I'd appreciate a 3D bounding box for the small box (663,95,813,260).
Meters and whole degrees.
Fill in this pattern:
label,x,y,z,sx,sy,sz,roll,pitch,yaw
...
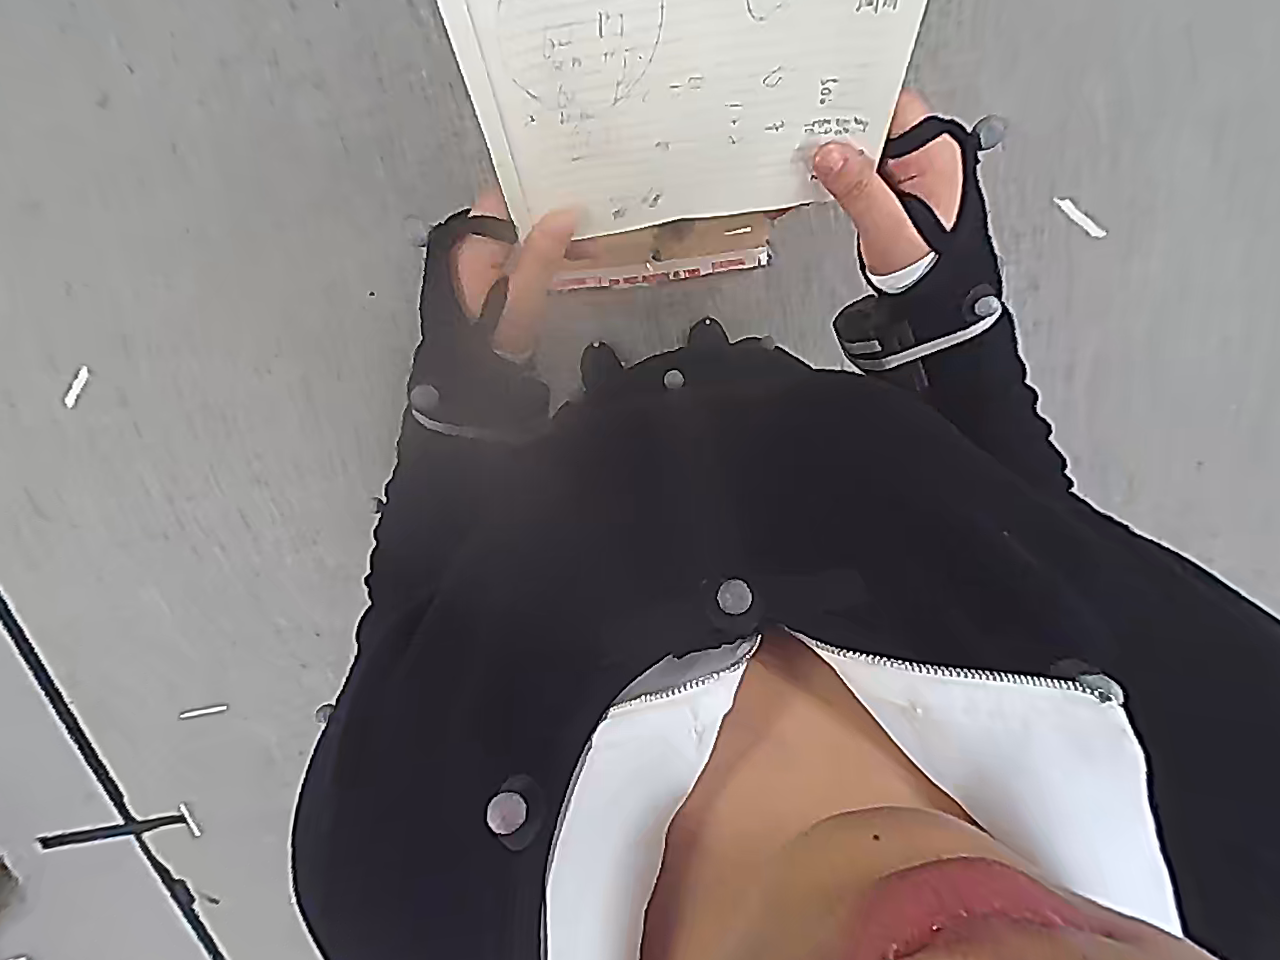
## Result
label,x,y,z,sx,sy,sz,roll,pitch,yaw
small box,0.141,-0.442,0.818,0.179,0.176,0.168,-13,107,1

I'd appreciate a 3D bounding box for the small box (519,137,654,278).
label,x,y,z,sx,sy,sz,roll,pitch,yaw
small box,-0.072,-0.402,0.824,0.179,0.176,0.168,-4,107,2
